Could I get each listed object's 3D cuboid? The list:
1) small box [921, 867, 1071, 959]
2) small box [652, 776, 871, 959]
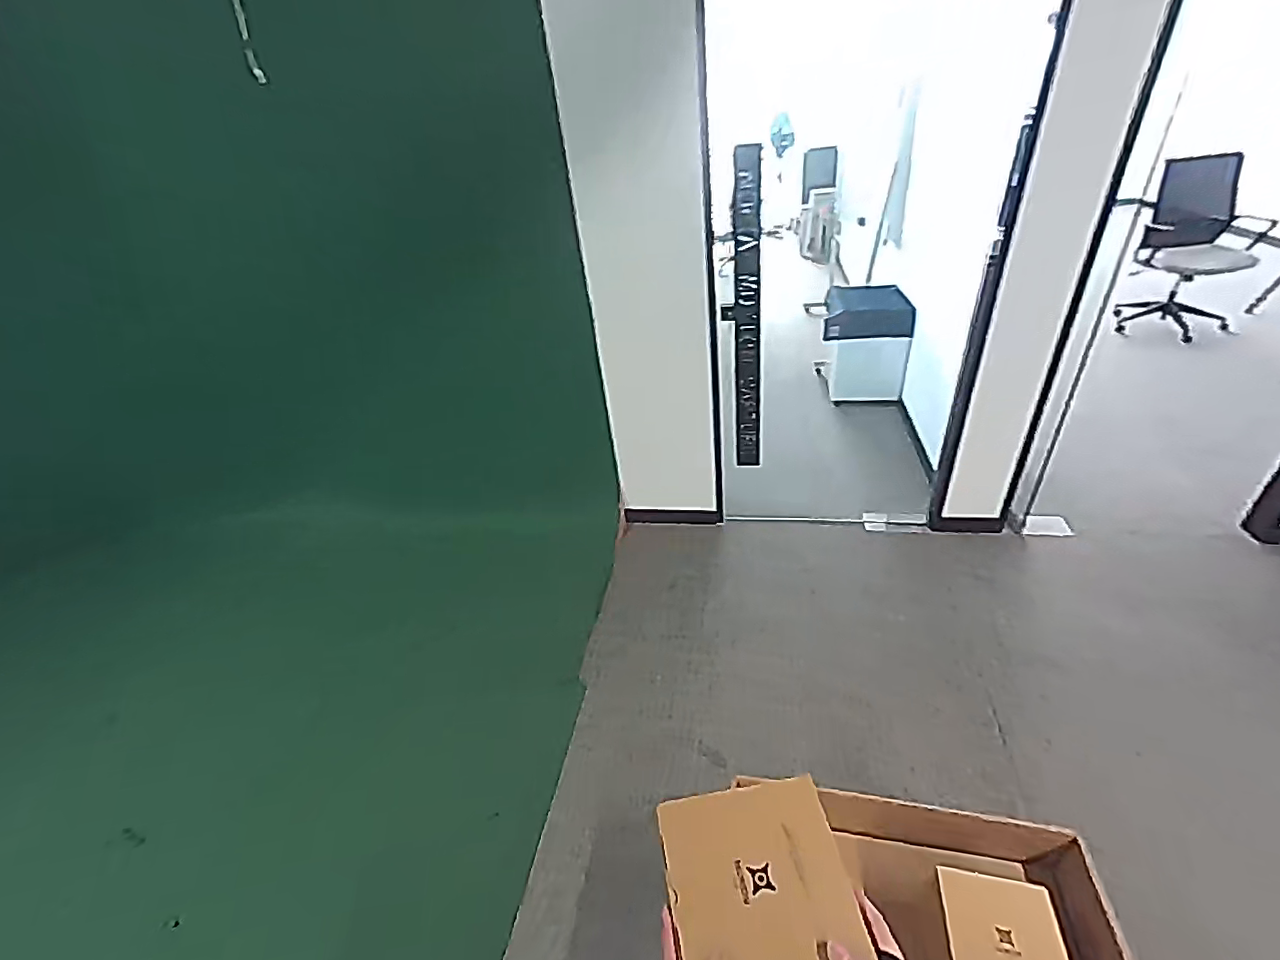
[{"bbox_3d":[0.565,0.770,0.866,0.168,0.176,0.179,4,36,14],"label":"small box"},{"bbox_3d":[0.113,0.446,0.575,0.179,0.176,0.168,-7,42,-4],"label":"small box"}]
